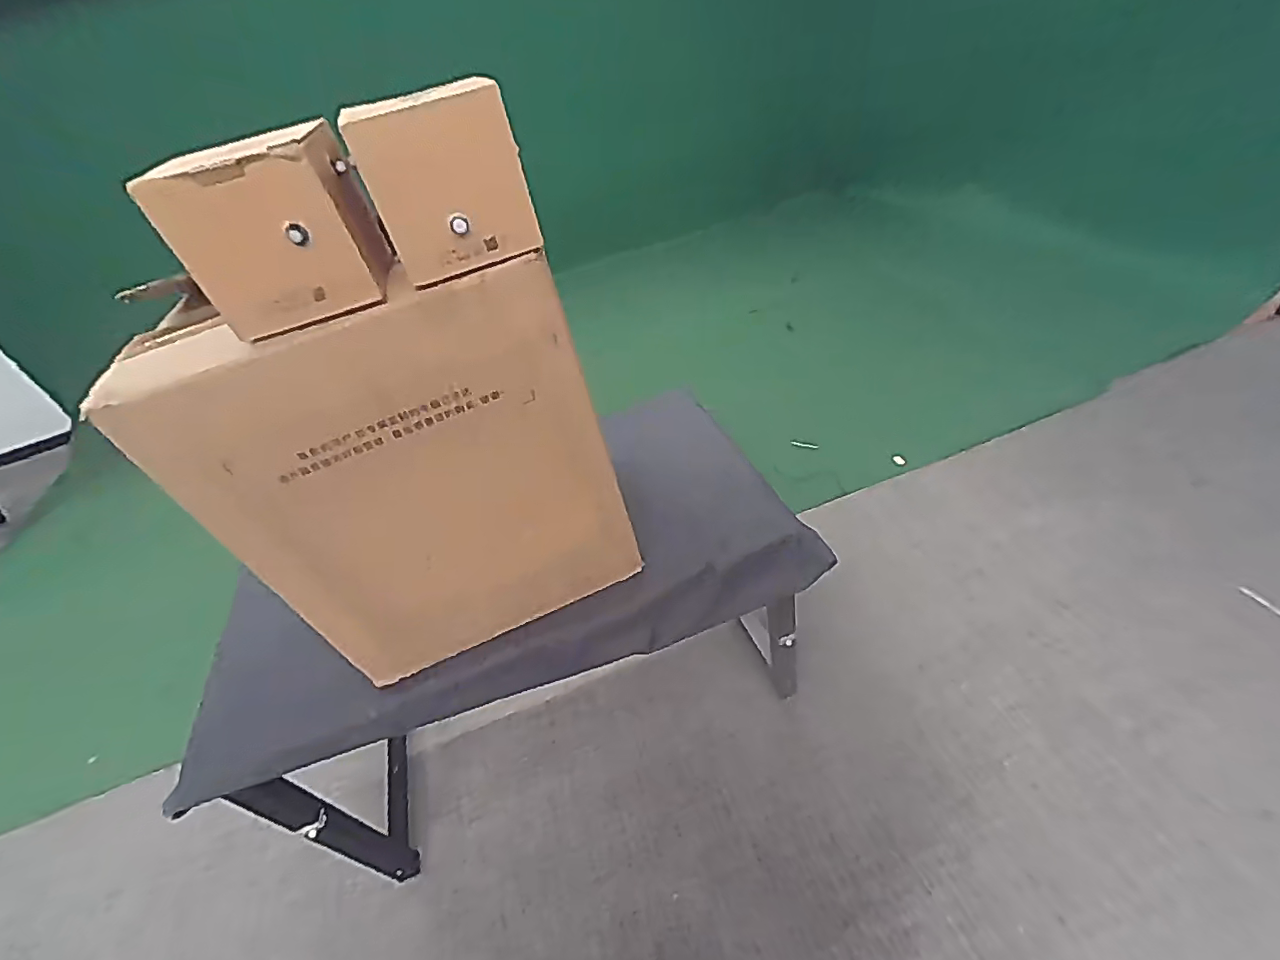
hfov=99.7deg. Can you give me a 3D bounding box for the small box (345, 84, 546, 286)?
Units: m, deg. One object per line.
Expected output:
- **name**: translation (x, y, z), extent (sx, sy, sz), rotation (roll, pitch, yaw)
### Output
- **small box**: translation (-0.230, -0.359, 0.658), extent (0.168, 0.176, 0.179), rotation (-22, 43, -9)
